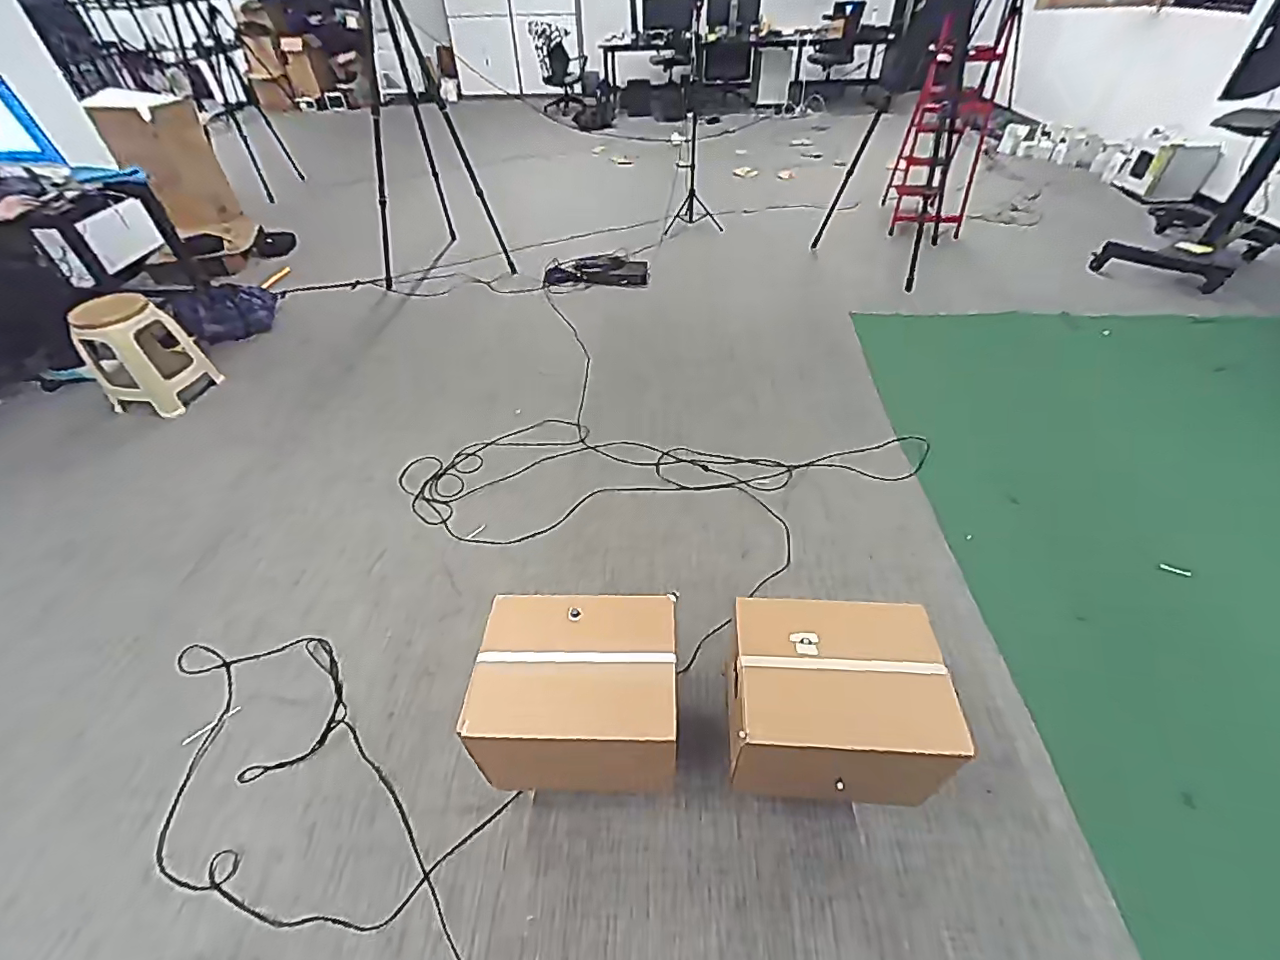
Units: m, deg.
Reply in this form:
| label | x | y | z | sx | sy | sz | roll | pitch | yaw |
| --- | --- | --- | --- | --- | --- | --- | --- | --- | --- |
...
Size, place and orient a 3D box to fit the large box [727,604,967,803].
| label | x | y | z | sx | sy | sz | roll | pitch | yaw |
| --- | --- | --- | --- | --- | --- | --- | --- | --- | --- |
| large box | 0.408 | 0.492 | 1.189 | 0.408 | 0.320 | 0.320 | 1 | 44 | 5 |
